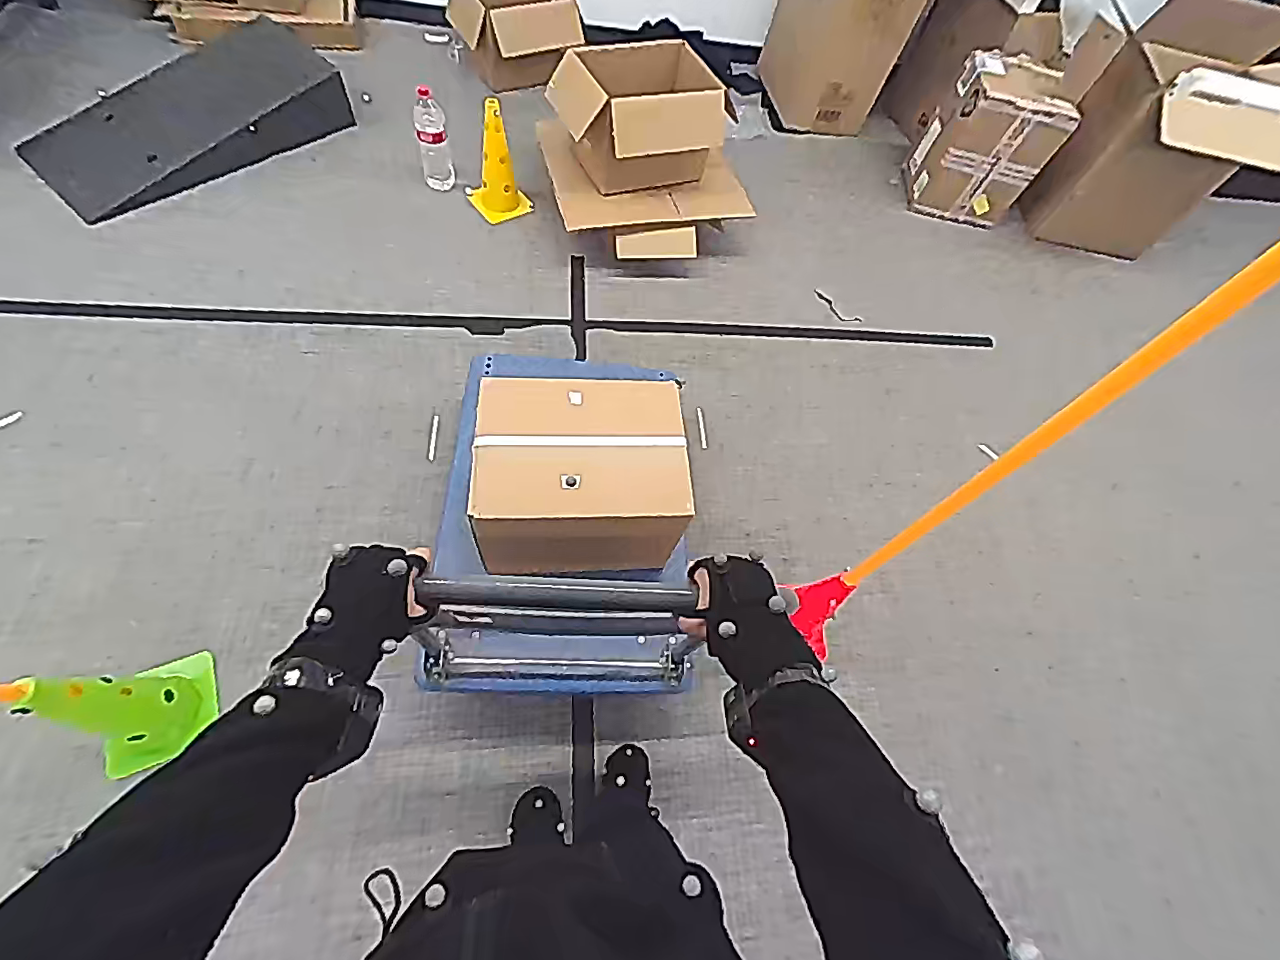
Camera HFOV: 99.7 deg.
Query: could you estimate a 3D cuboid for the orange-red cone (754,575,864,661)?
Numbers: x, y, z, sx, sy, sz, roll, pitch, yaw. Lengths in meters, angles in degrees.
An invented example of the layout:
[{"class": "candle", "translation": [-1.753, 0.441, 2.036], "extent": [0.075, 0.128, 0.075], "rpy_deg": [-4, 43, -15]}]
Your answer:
[{"class": "orange-red cone", "translation": [0.425, 0.293, 1.277], "extent": [0.199, 0.360, 0.198], "rpy_deg": [6, 62, -7]}]
